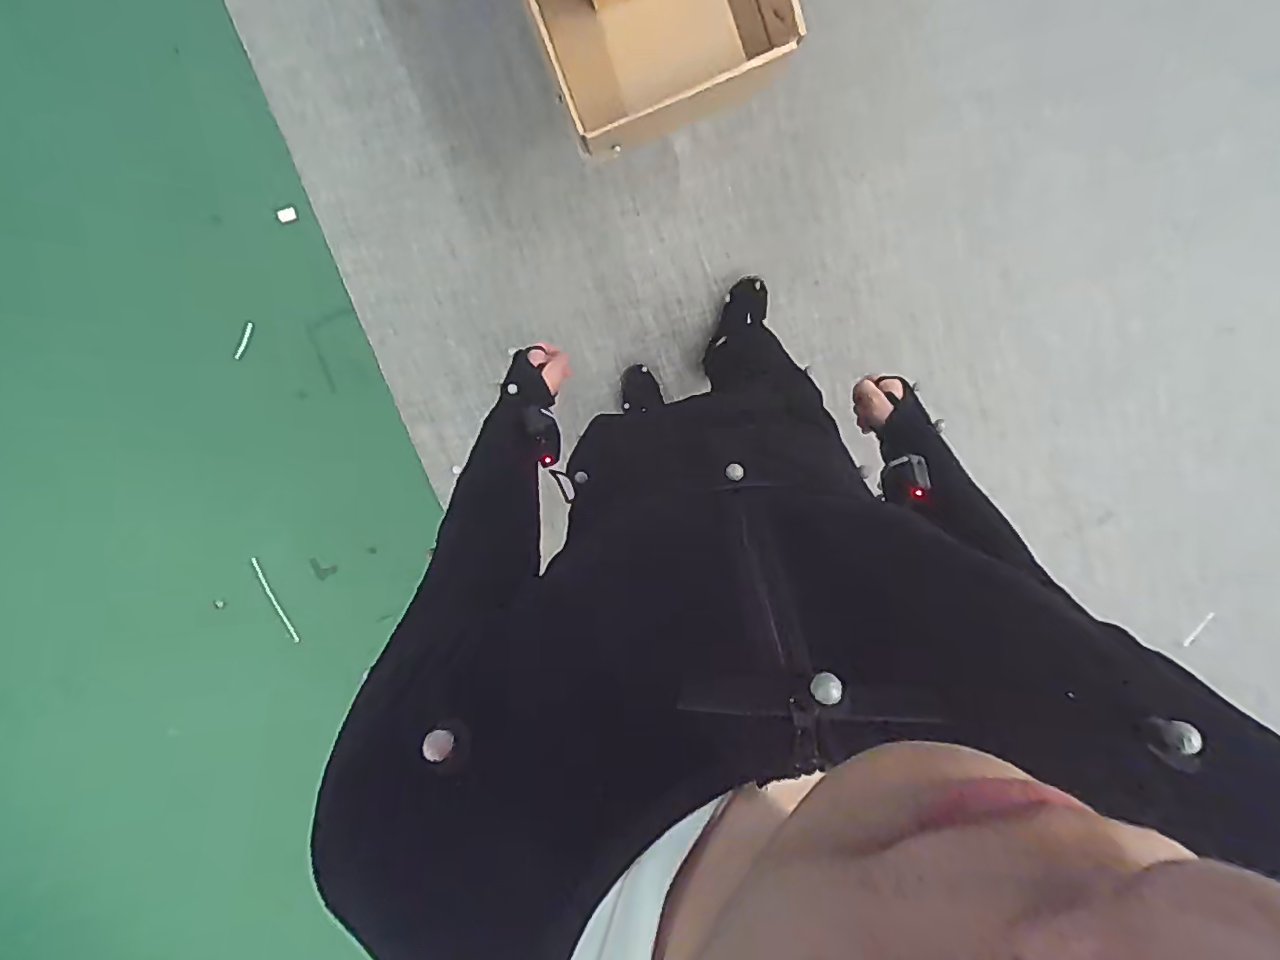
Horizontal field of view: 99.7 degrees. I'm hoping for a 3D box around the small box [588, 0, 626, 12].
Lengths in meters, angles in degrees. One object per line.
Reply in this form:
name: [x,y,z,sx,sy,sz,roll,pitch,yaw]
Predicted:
small box: [-0.033,-0.915,0.869,0.179,0.176,0.168,-20,103,5]
